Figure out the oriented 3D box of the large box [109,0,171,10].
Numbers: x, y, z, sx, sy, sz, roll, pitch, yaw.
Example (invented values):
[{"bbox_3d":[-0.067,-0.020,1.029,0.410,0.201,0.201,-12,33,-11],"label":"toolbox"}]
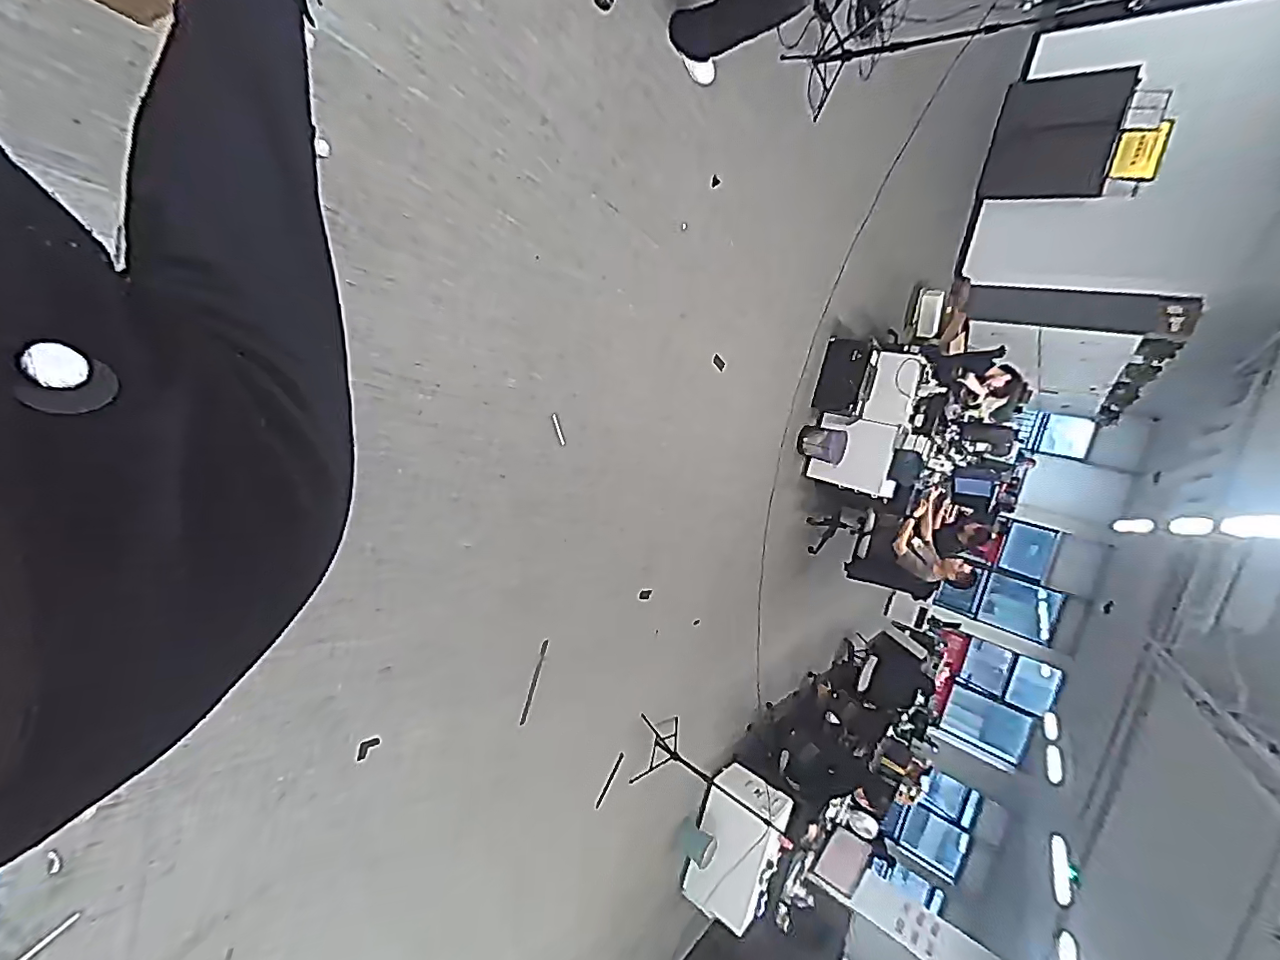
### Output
[{"bbox_3d":[-0.515,-0.588,0.318,0.408,0.320,0.320,2,111,-52],"label":"large box"}]
